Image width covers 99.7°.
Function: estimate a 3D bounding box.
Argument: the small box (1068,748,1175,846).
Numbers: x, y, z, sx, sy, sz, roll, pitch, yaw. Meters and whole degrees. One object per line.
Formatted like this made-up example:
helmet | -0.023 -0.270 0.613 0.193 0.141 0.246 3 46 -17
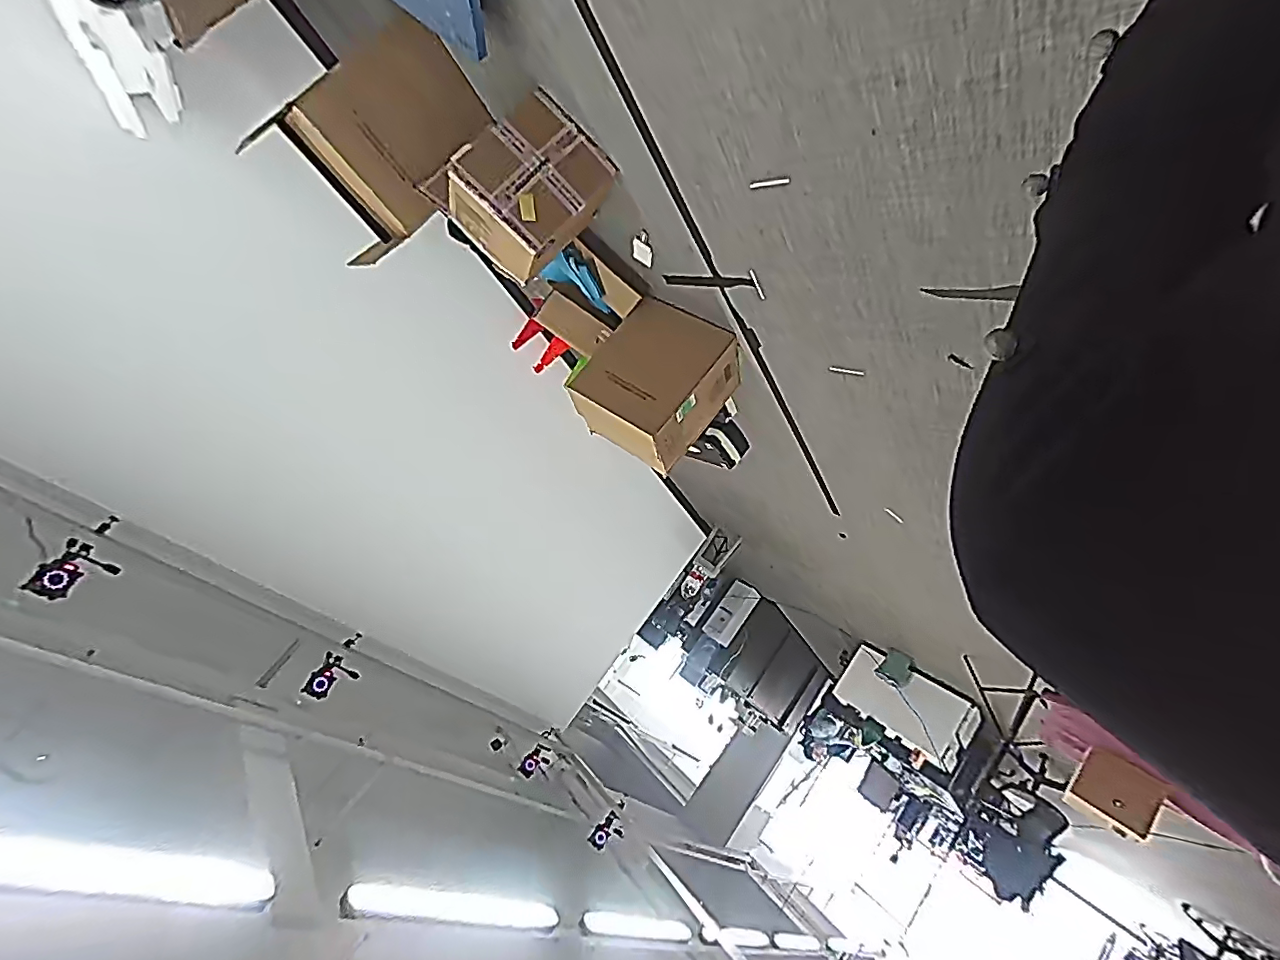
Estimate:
small box | 1.387 0.911 1.560 0.179 0.176 0.168 29 163 42
